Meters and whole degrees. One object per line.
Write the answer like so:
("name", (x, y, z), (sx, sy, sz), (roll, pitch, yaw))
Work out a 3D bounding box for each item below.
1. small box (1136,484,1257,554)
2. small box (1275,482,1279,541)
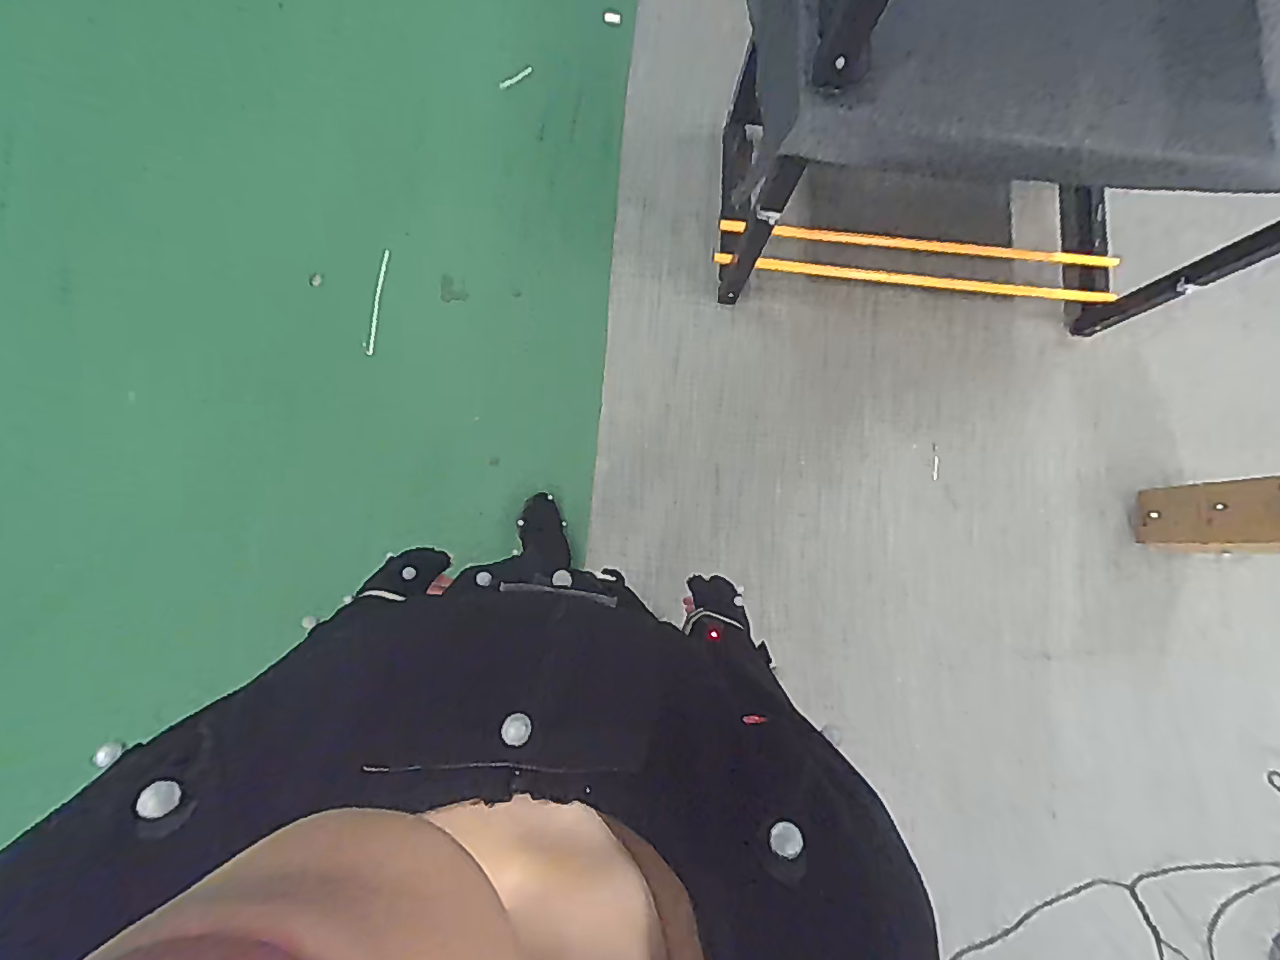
("small box", (1.571, 0.114, 1.532), (0.179, 0.176, 0.168), (10, 81, -2))
("small box", (1.593, 0.070, 1.209), (0.179, 0.176, 0.168), (8, 83, -3))
